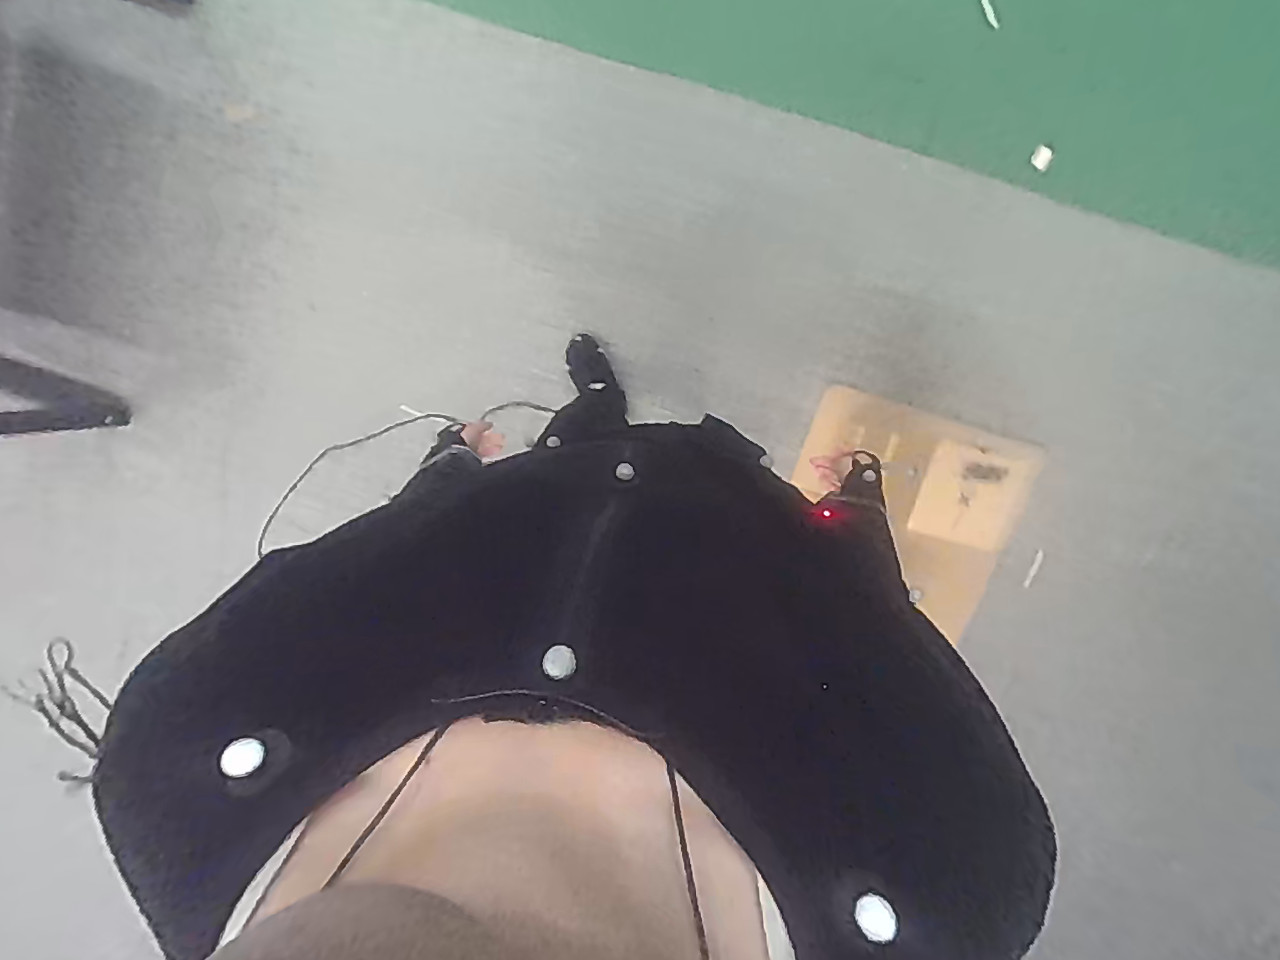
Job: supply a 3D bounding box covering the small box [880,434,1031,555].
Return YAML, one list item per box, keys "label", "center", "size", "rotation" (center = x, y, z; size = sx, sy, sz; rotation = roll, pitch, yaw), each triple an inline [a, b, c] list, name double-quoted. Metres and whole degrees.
- label: "small box"
  center: [0.591, 0.018, 1.041]
  size: [0.168, 0.176, 0.179]
  rotation: [16, 102, 1]

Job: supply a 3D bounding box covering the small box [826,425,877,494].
- label: "small box"
  center: [0.593, -0.037, 1.366]
  size: [0.179, 0.176, 0.168]
  rotation: [16, 101, 0]

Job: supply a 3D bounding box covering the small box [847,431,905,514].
- label: "small box"
  center: [0.589, -0.007, 1.204]
  size: [0.179, 0.176, 0.168]
  rotation: [17, 102, 0]
